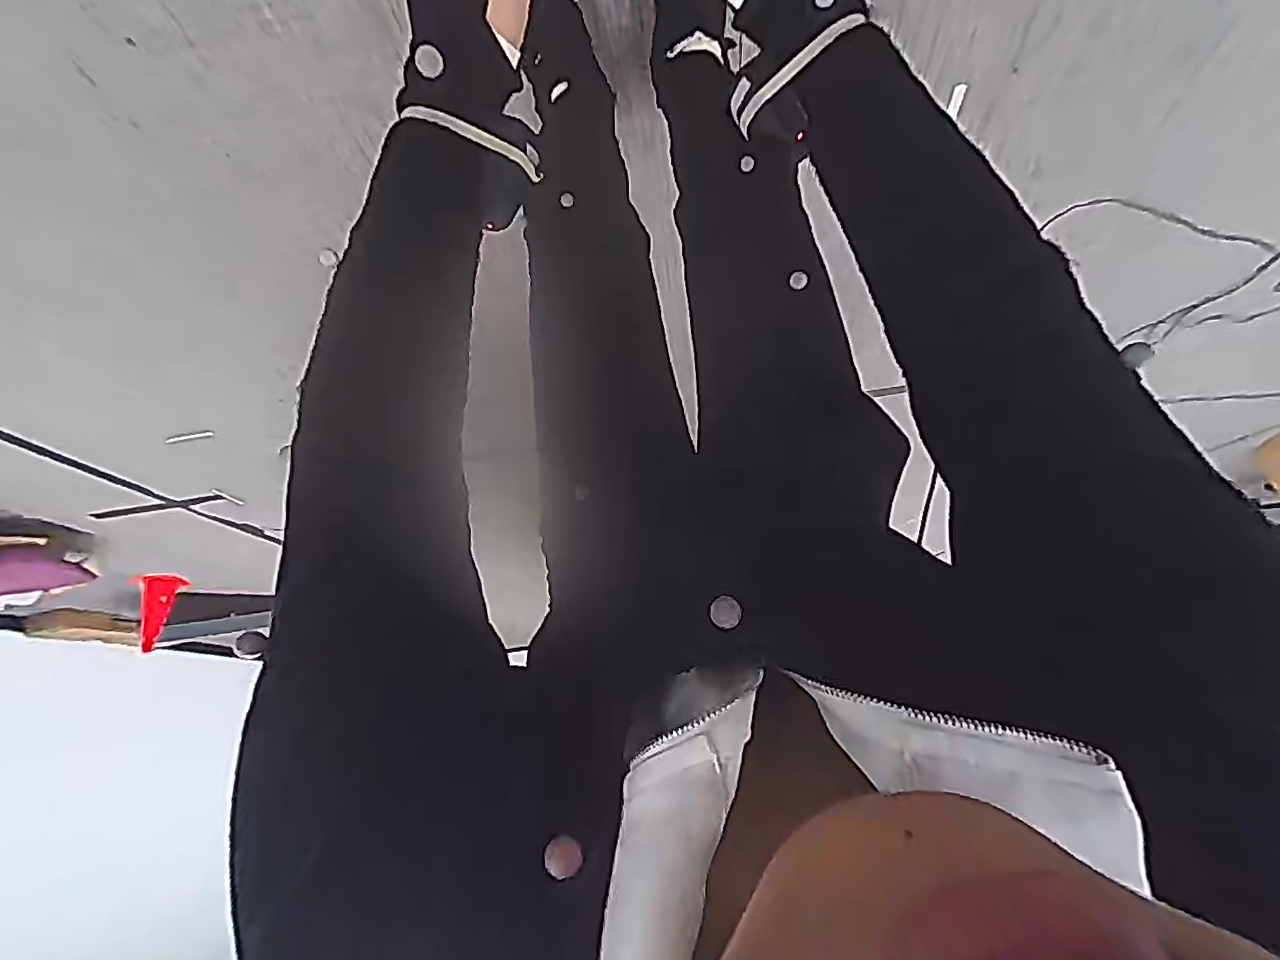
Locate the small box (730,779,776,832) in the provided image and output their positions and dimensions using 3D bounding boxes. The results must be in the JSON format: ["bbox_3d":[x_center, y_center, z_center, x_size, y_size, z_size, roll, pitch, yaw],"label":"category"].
[{"bbox_3d":[0.491,1.408,2.345,0.168,0.176,0.179,-11,157,12],"label":"small box"}]
